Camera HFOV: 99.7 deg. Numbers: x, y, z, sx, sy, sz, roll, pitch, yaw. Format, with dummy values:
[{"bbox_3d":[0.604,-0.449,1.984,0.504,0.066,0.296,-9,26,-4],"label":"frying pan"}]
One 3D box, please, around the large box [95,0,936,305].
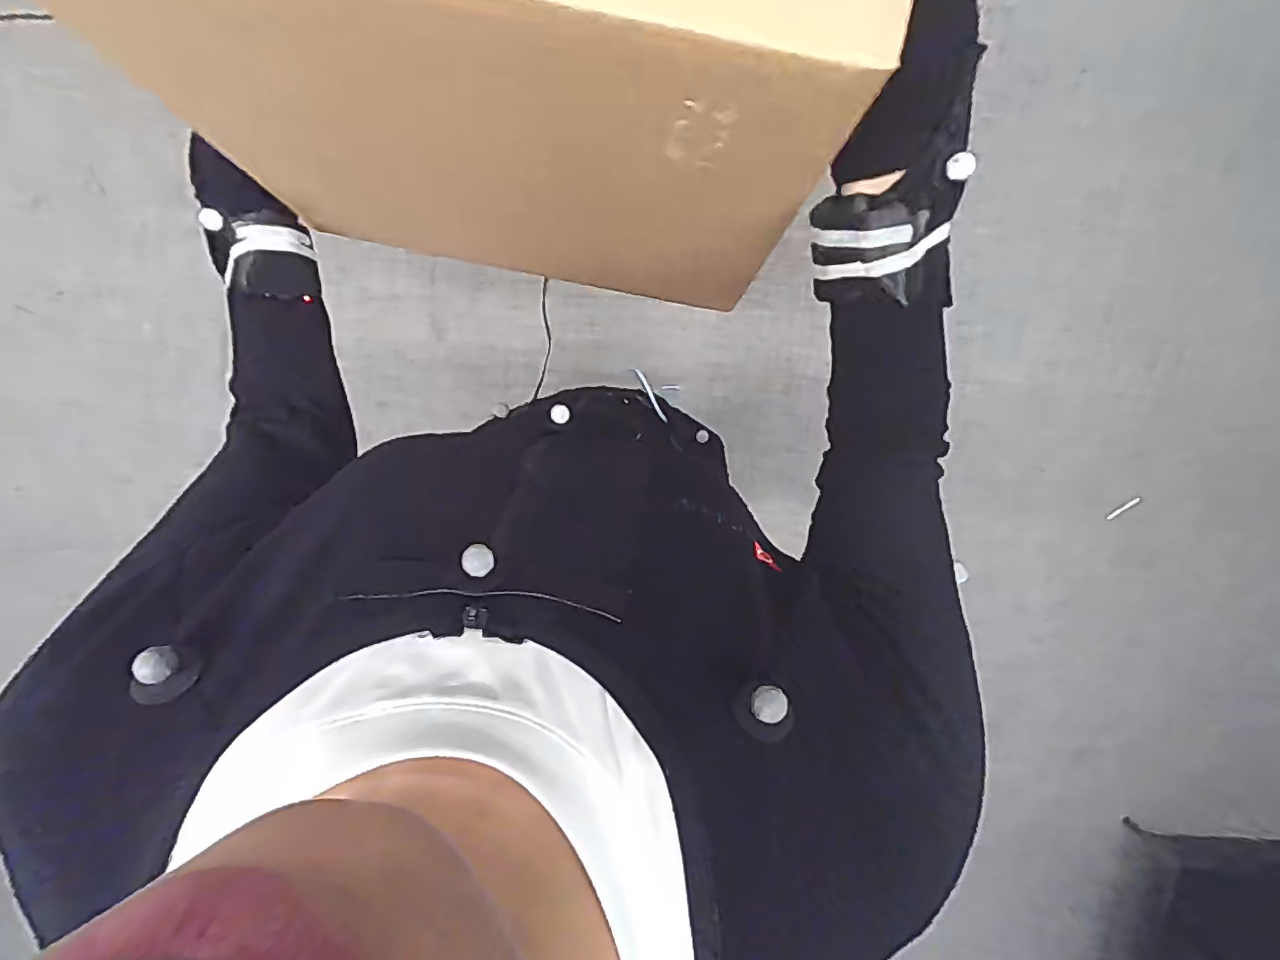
[{"bbox_3d":[-0.061,-0.350,0.369,0.408,0.320,0.320,10,90,-4],"label":"large box"}]
